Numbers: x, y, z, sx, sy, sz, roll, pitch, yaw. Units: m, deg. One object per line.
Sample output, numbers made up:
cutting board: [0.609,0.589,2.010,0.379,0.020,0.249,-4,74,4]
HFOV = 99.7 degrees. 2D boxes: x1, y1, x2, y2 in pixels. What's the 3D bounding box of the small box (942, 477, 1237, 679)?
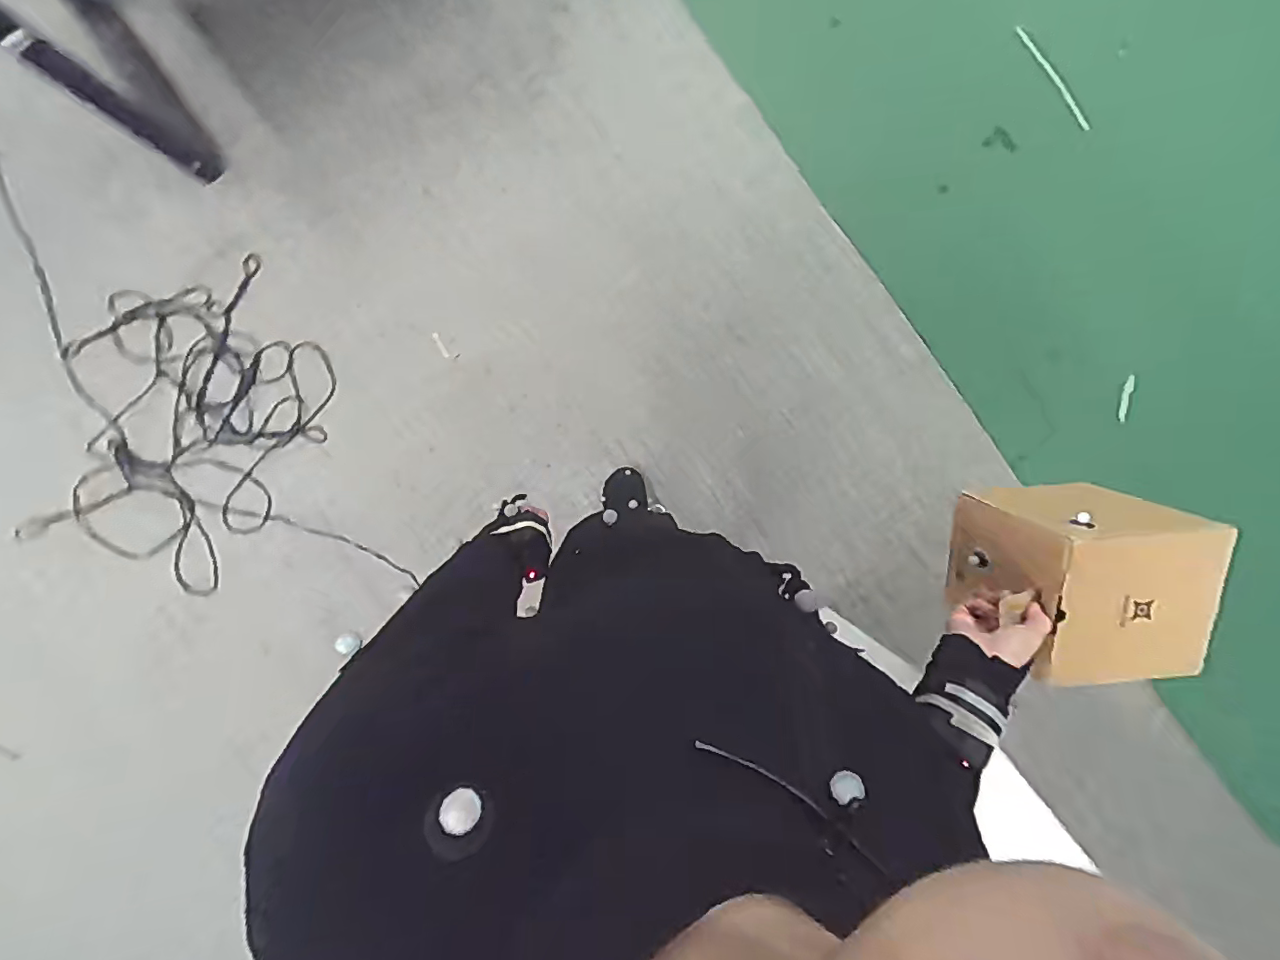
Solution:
small box: [0.484,0.098,0.612,0.179,0.176,0.168,-4,106,-5]
